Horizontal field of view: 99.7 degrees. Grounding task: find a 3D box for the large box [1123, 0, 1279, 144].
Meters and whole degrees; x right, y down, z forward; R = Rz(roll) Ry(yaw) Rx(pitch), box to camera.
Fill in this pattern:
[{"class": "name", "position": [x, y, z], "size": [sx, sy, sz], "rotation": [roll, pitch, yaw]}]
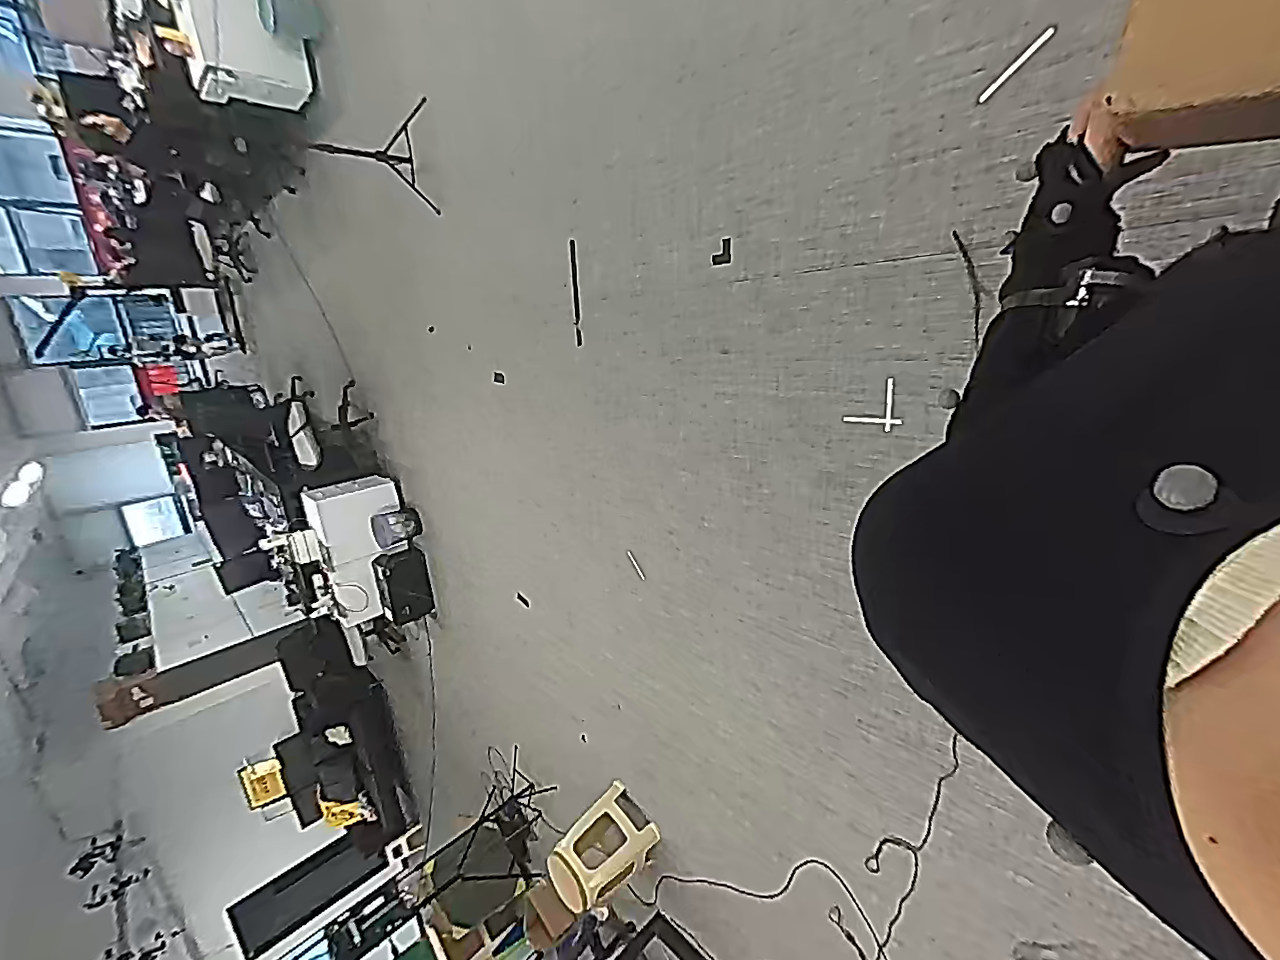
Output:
[{"class": "large box", "position": [0.439, -0.318, 0.156], "size": [0.408, 0.320, 0.320], "rotation": [15, 122, 36]}]
